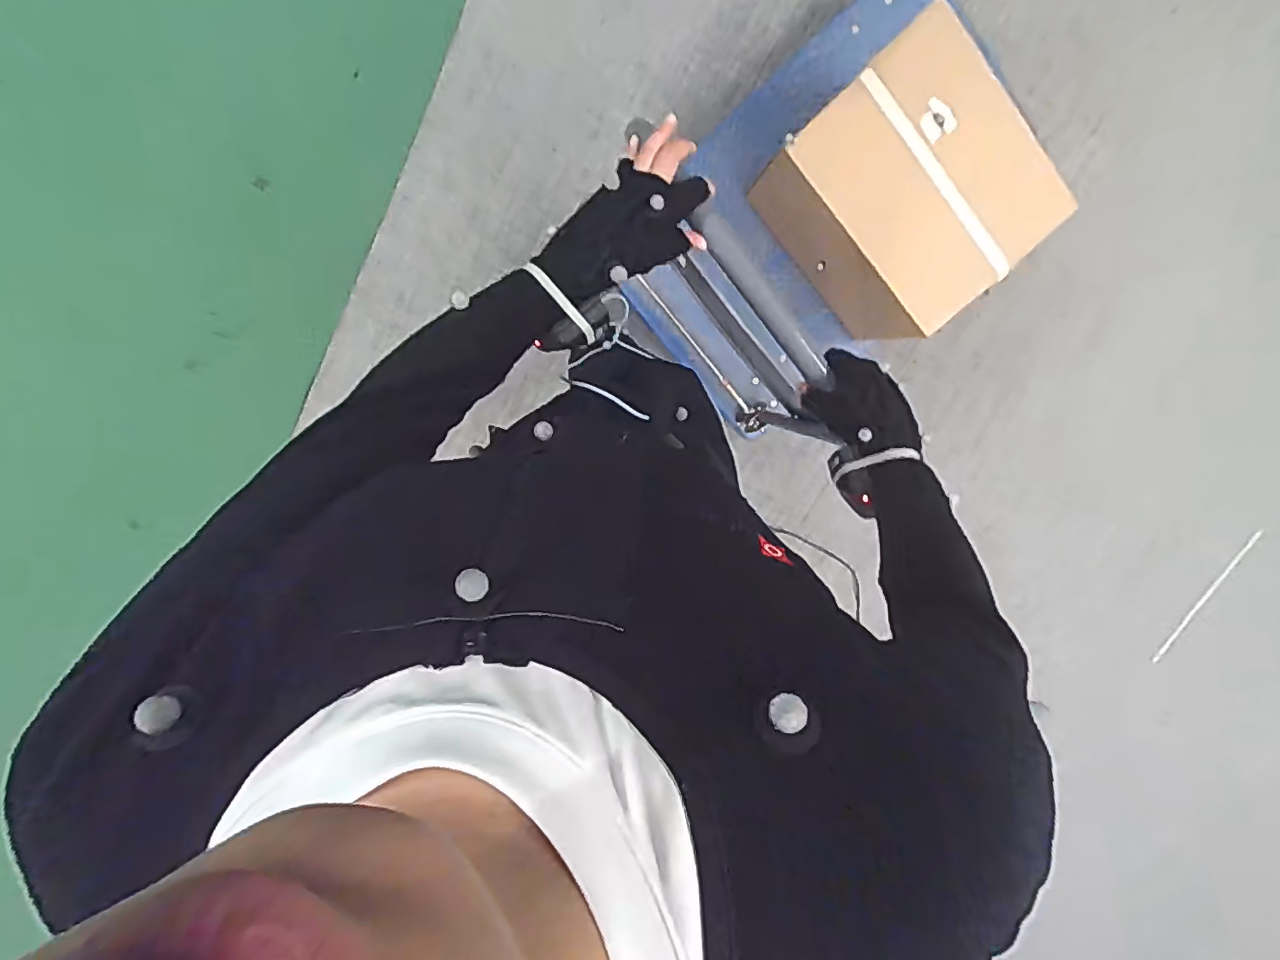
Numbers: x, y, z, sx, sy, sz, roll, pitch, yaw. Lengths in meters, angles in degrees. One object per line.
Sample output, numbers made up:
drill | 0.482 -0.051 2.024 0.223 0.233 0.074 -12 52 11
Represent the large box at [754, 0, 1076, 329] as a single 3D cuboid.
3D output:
large box | 0.483 -0.542 1.033 0.320 0.320 0.408 -42 100 9
